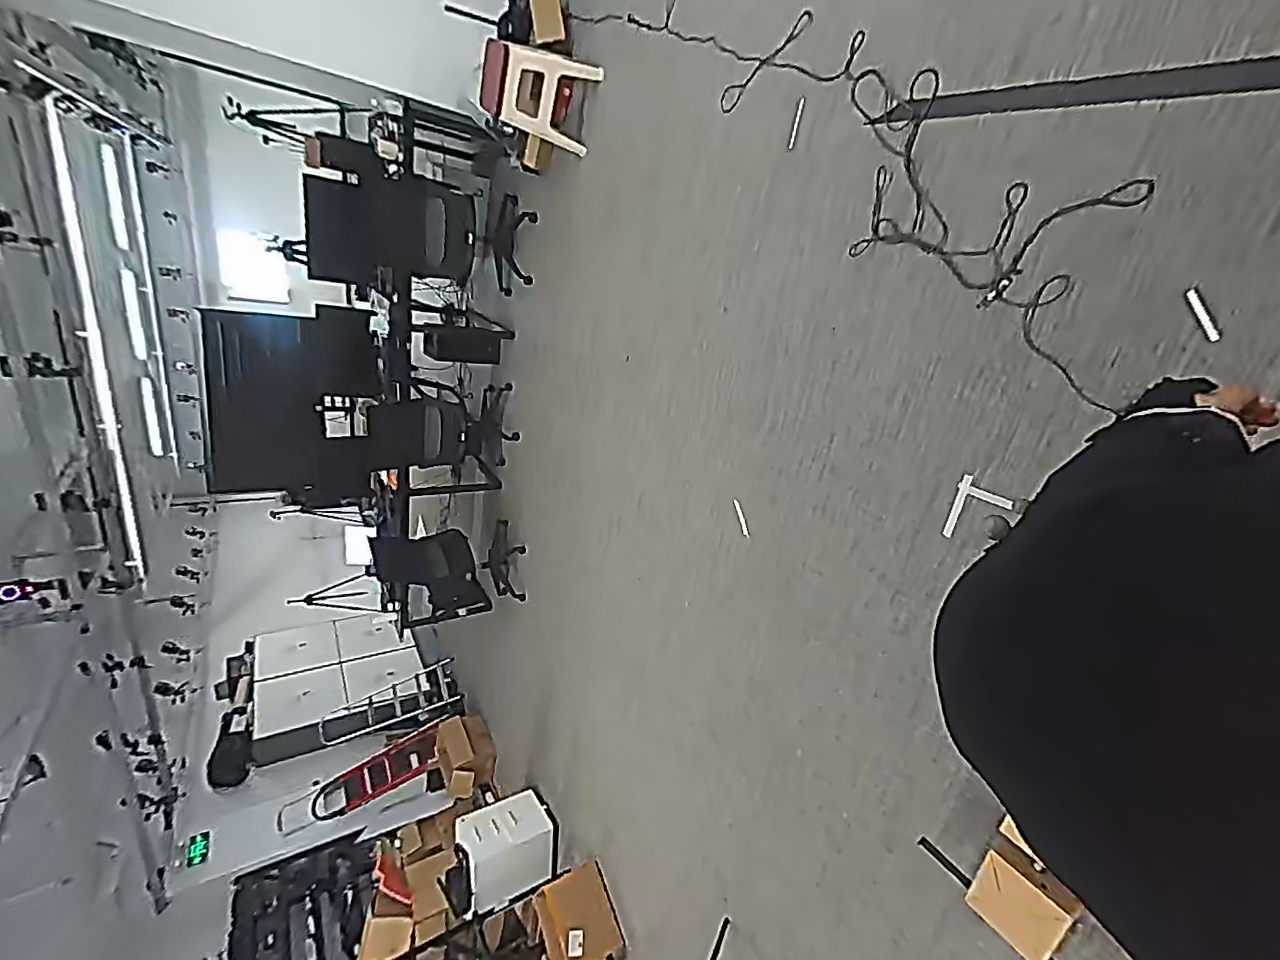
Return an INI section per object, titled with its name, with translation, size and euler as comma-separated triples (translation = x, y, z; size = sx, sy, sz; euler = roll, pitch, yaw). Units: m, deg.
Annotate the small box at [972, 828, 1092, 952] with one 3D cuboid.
[small box]
translation = 0.905, 0.926, 1.243
size = 0.168, 0.176, 0.179
euler = 33, 122, 49
